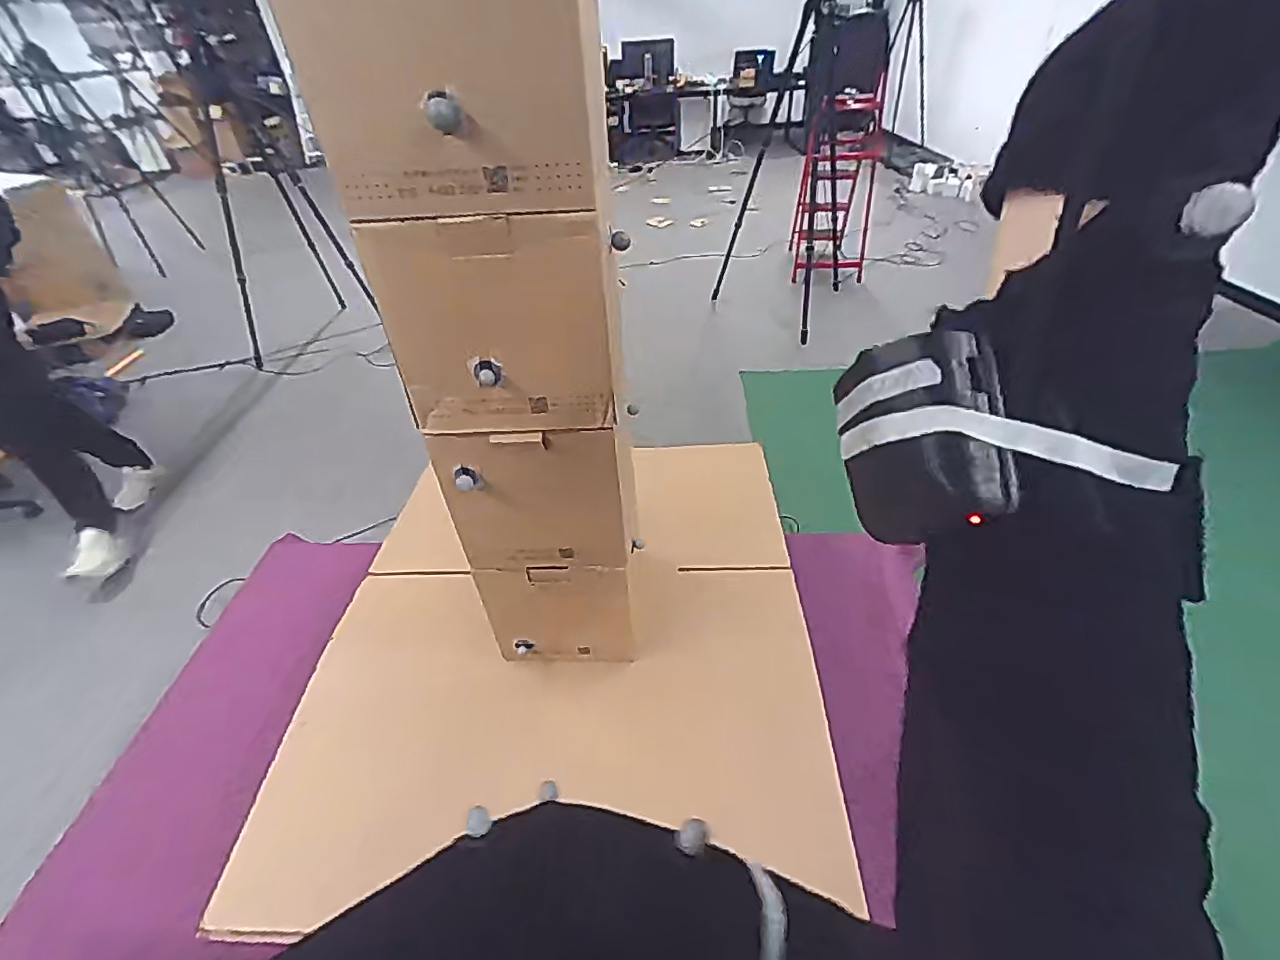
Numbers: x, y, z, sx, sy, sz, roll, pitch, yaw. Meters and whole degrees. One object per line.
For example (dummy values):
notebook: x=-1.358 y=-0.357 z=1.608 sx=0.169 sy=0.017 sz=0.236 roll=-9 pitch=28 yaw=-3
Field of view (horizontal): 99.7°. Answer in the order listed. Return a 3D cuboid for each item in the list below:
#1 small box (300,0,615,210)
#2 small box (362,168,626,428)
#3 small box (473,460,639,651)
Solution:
small box: x=-0.106 y=-0.289 z=0.363 sx=0.168 sy=0.176 sz=0.179 roll=-2 pitch=39 yaw=2
small box: x=-0.099 y=-0.160 z=0.464 sx=0.168 sy=0.176 sz=0.179 roll=-2 pitch=39 yaw=1
small box: x=-0.088 y=0.097 z=0.668 sx=0.168 sy=0.176 sz=0.179 roll=-3 pitch=41 yaw=1
